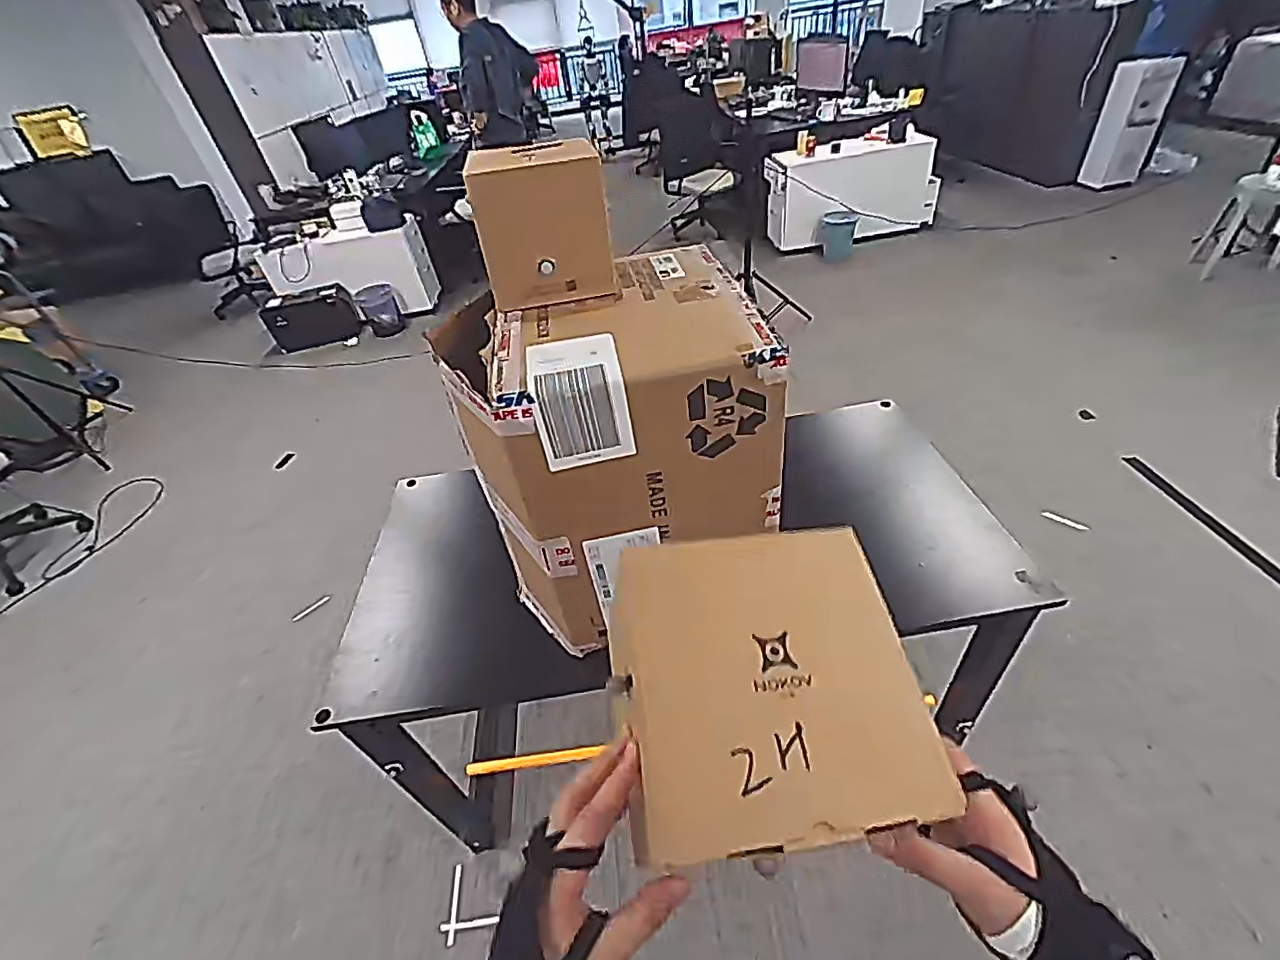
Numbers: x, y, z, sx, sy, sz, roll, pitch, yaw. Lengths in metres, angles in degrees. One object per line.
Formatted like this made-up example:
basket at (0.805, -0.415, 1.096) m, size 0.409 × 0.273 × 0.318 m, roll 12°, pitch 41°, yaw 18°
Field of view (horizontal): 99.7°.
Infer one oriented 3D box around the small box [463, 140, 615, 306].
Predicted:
small box at (-0.134, -0.356, 0.748) m, size 0.168 × 0.176 × 0.179 m, roll -11°, pitch 39°, yaw -5°

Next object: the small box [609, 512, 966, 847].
small box at (0.070, 0.142, 0.378) m, size 0.168 × 0.176 × 0.179 m, roll -4°, pitch 57°, yaw -9°
